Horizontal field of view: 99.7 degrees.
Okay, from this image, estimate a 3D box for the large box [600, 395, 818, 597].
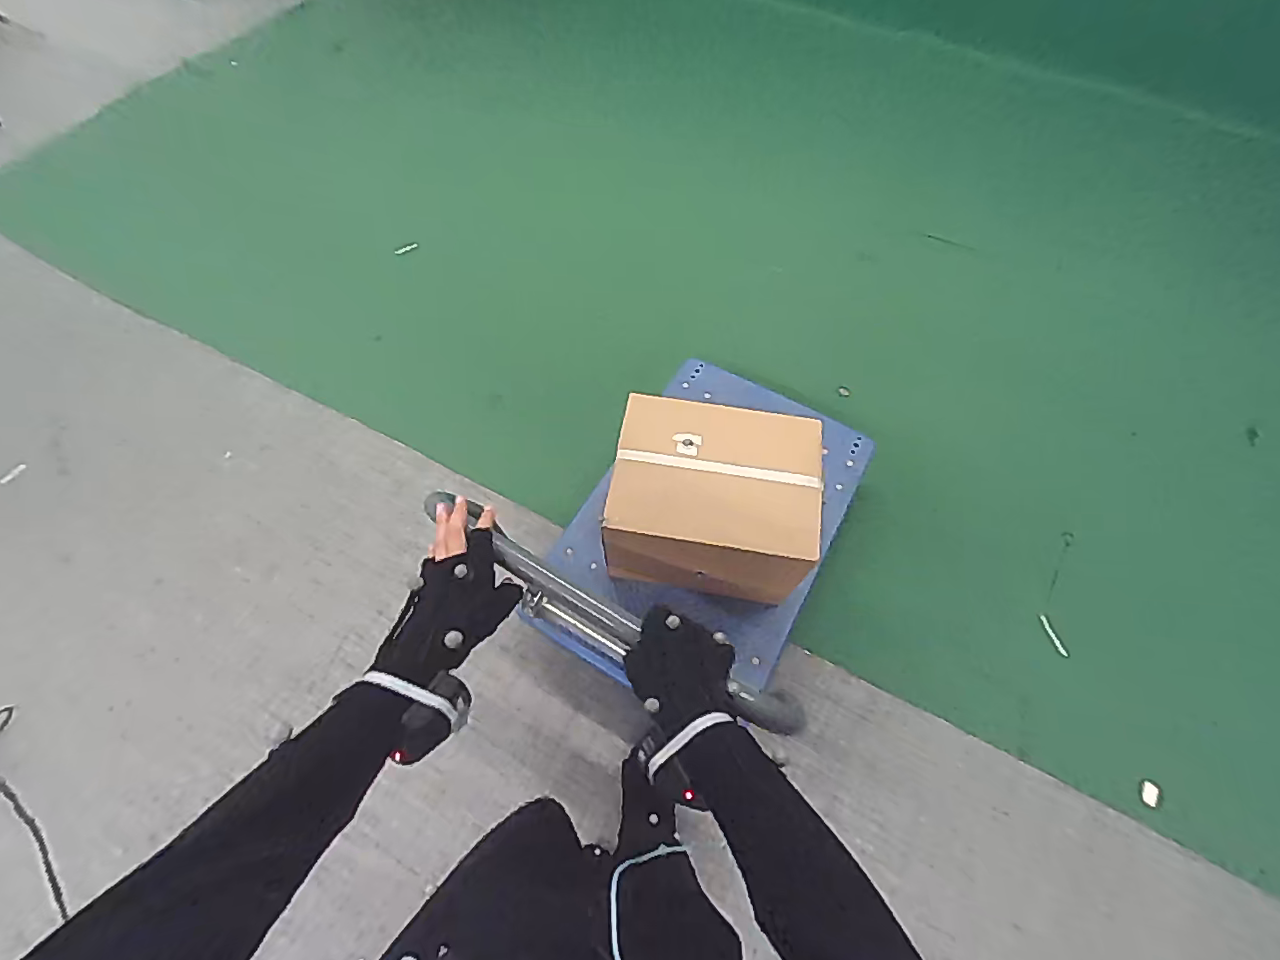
[{"bbox_3d":[0.149,0.047,1.194,0.408,0.320,0.320,9,63,5],"label":"large box"}]
